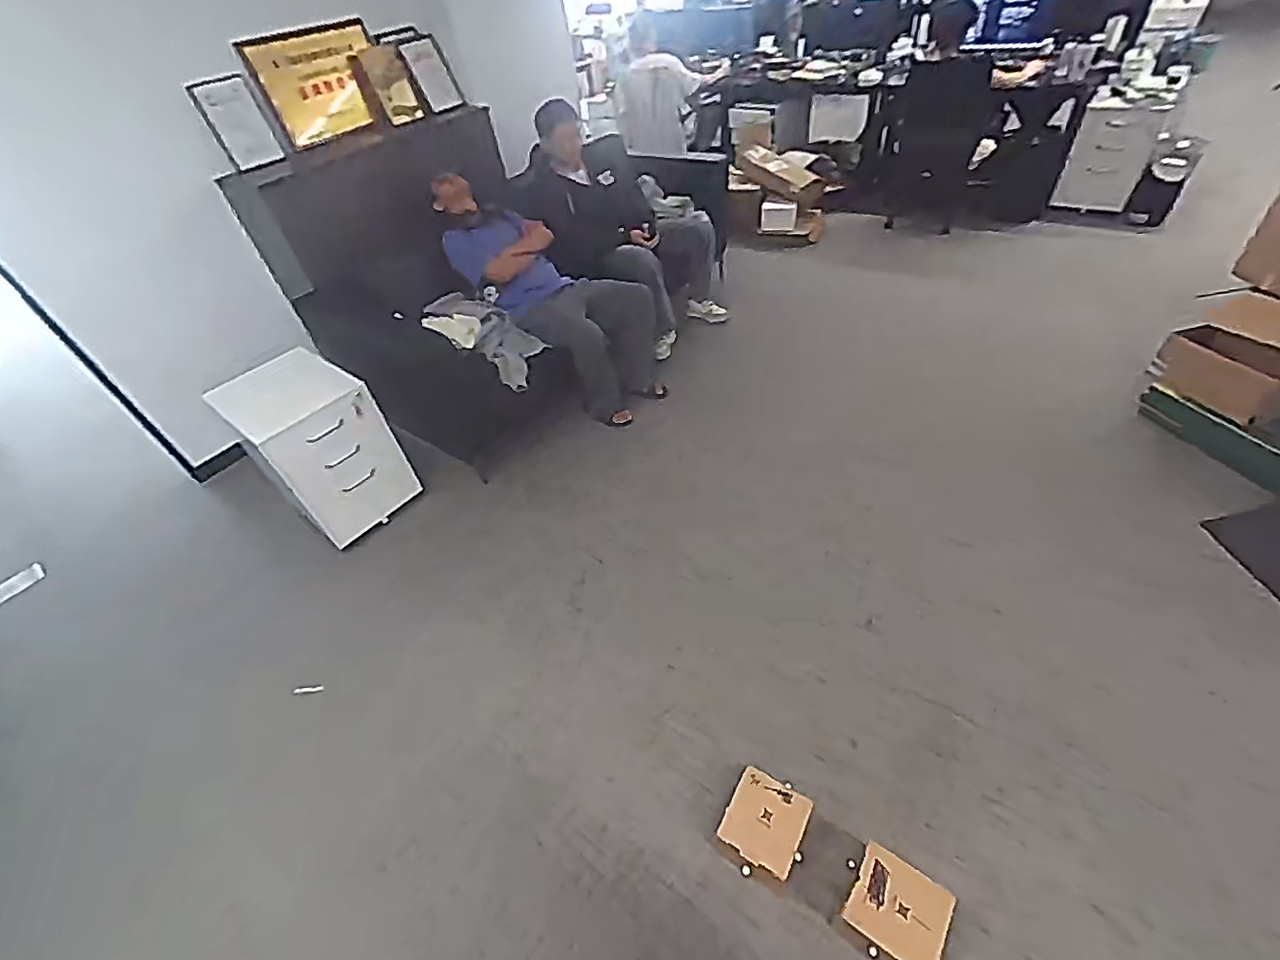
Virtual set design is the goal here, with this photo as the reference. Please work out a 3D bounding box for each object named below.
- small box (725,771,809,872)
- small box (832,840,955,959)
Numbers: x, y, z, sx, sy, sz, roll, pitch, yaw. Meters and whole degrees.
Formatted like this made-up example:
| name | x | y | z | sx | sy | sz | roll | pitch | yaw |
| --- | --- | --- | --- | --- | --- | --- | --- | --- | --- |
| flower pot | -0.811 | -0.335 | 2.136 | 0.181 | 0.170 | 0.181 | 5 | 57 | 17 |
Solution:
| name | x | y | z | sx | sy | sz | roll | pitch | yaw |
| --- | --- | --- | --- | --- | --- | --- | --- | --- | --- |
| small box | 0.298 | 0.812 | 1.285 | 0.179 | 0.176 | 0.168 | -4 | 42 | 8 |
| small box | 0.525 | 0.916 | 1.141 | 0.179 | 0.176 | 0.168 | 27 | 56 | 33 |
